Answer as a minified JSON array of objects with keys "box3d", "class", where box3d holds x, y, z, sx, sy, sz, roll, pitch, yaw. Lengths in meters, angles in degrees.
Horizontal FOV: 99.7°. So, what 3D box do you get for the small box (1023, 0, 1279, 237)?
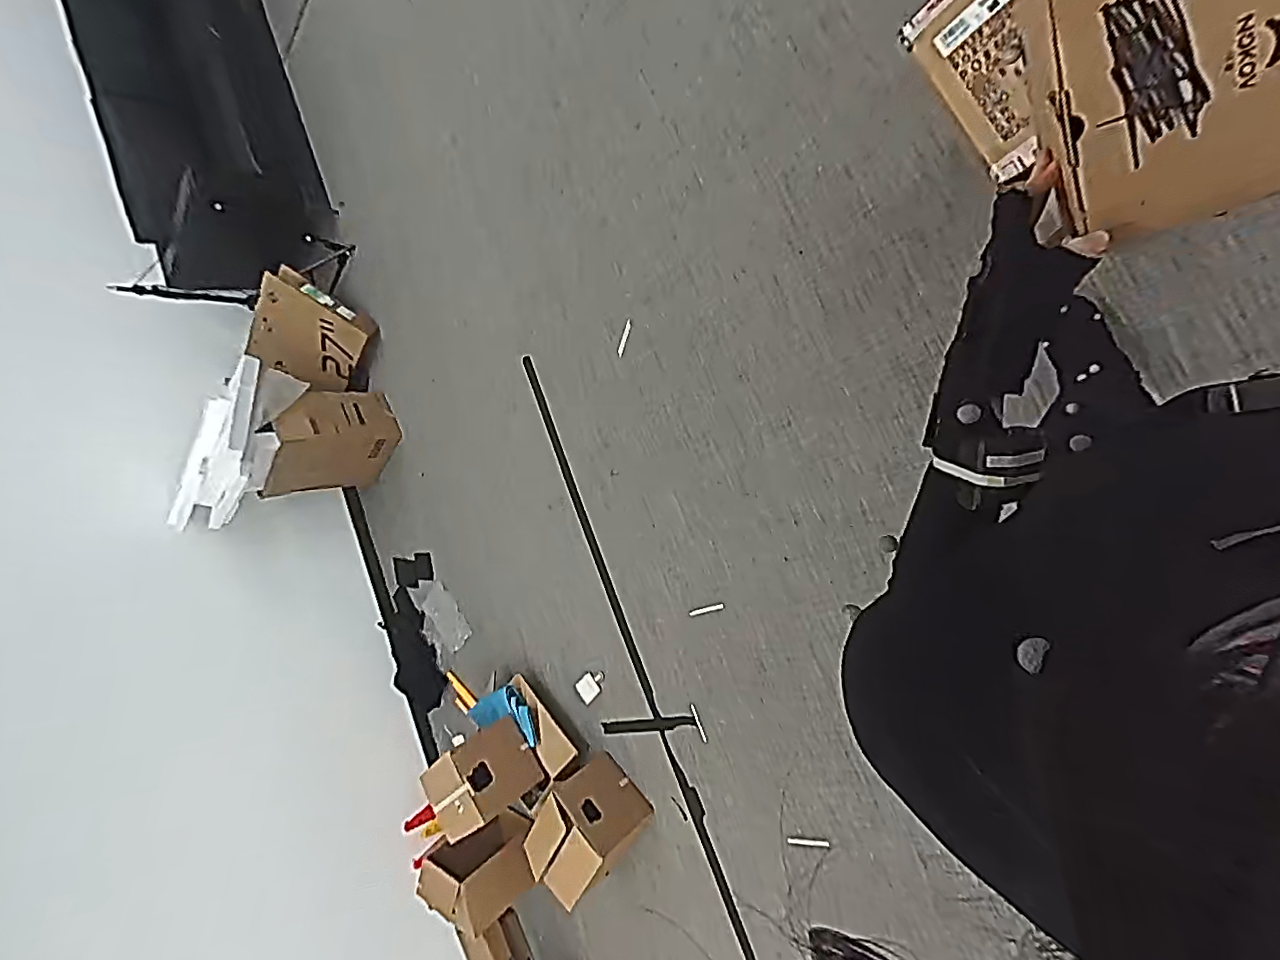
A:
[{"box3d":[0.359,-0.283,0.339,0.179,0.176,0.168,-13,117,36],"class":"small box"}]
